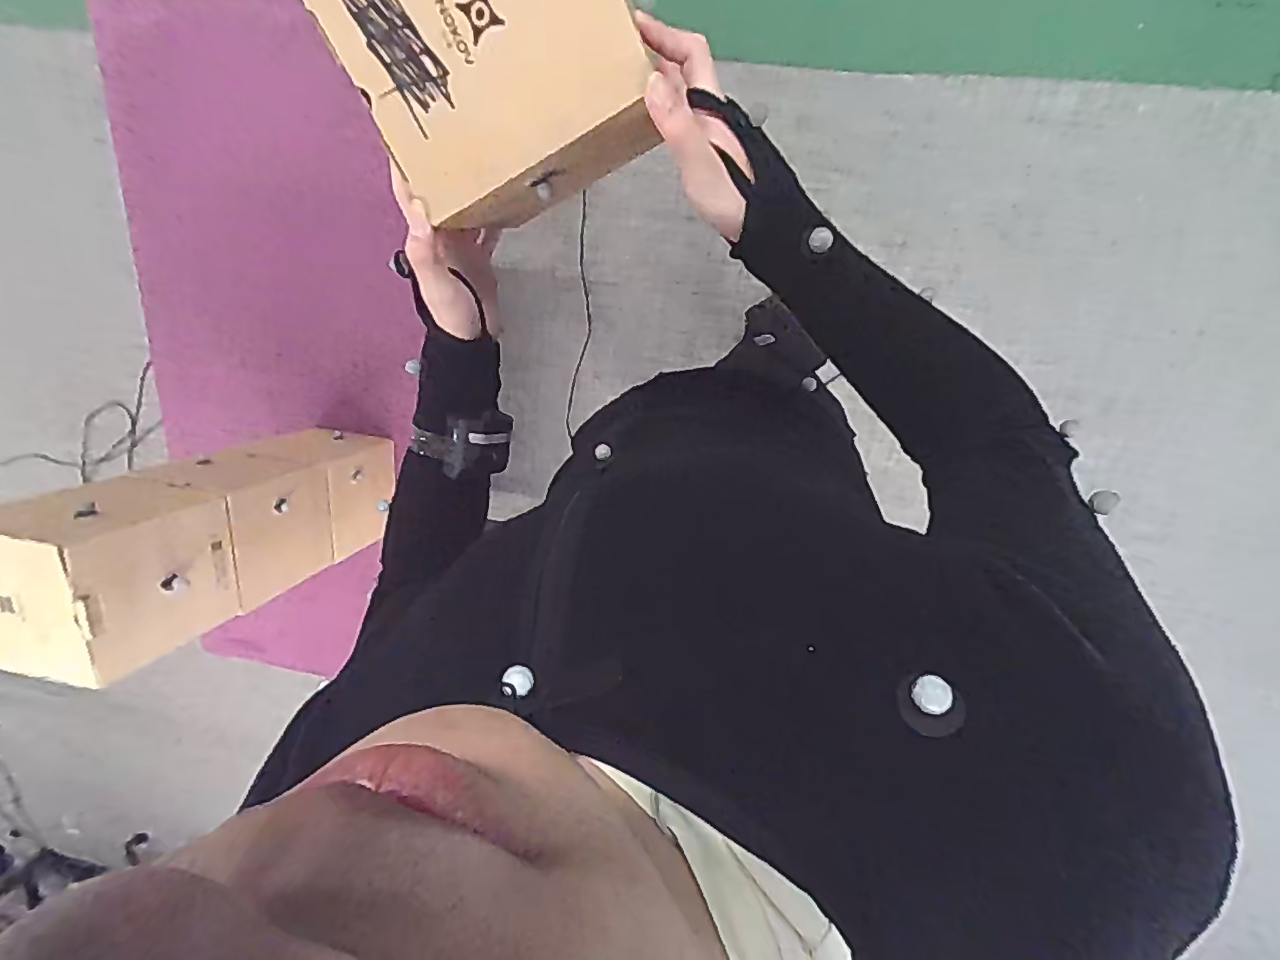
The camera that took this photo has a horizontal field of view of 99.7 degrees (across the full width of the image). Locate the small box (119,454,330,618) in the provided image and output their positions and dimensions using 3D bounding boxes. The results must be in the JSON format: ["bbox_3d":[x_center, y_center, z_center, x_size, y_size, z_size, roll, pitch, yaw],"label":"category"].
[{"bbox_3d":[-0.578,0.068,0.777,0.168,0.176,0.179,8,107,9],"label":"small box"}]

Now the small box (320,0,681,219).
[{"bbox_3d":[-0.082,-0.306,0.391,0.179,0.176,0.168,-21,110,17],"label":"small box"}]

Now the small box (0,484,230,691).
[{"bbox_3d":[-0.616,0.110,0.624,0.179,0.176,0.168,7,106,10],"label":"small box"}]
